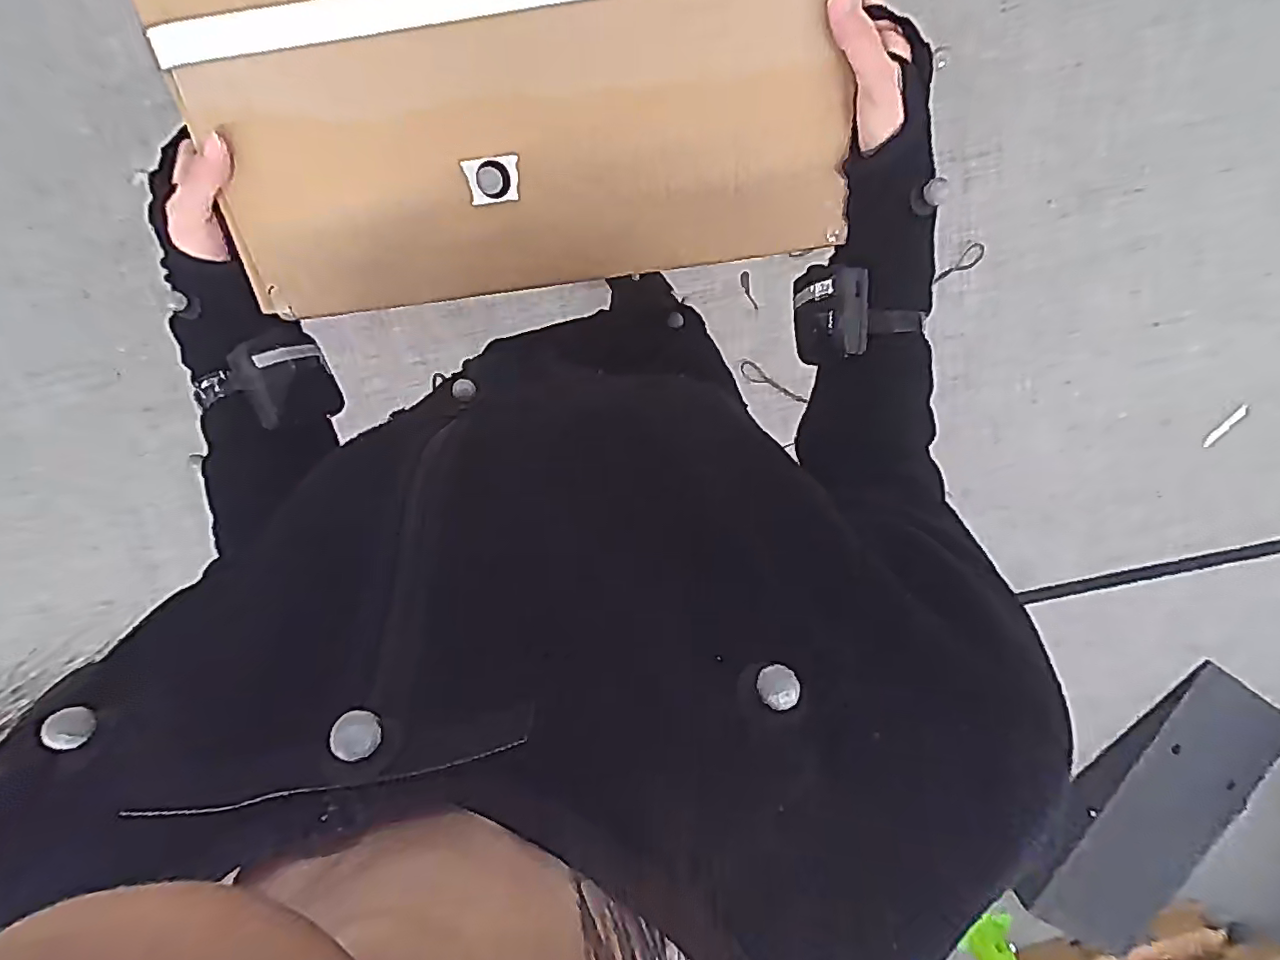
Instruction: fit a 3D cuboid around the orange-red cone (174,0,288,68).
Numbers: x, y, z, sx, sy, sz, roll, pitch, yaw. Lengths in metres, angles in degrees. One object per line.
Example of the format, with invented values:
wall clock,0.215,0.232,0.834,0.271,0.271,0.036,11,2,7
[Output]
orange-red cone,-0.834,-0.916,0.929,0.199,0.360,0.198,-19,107,6
